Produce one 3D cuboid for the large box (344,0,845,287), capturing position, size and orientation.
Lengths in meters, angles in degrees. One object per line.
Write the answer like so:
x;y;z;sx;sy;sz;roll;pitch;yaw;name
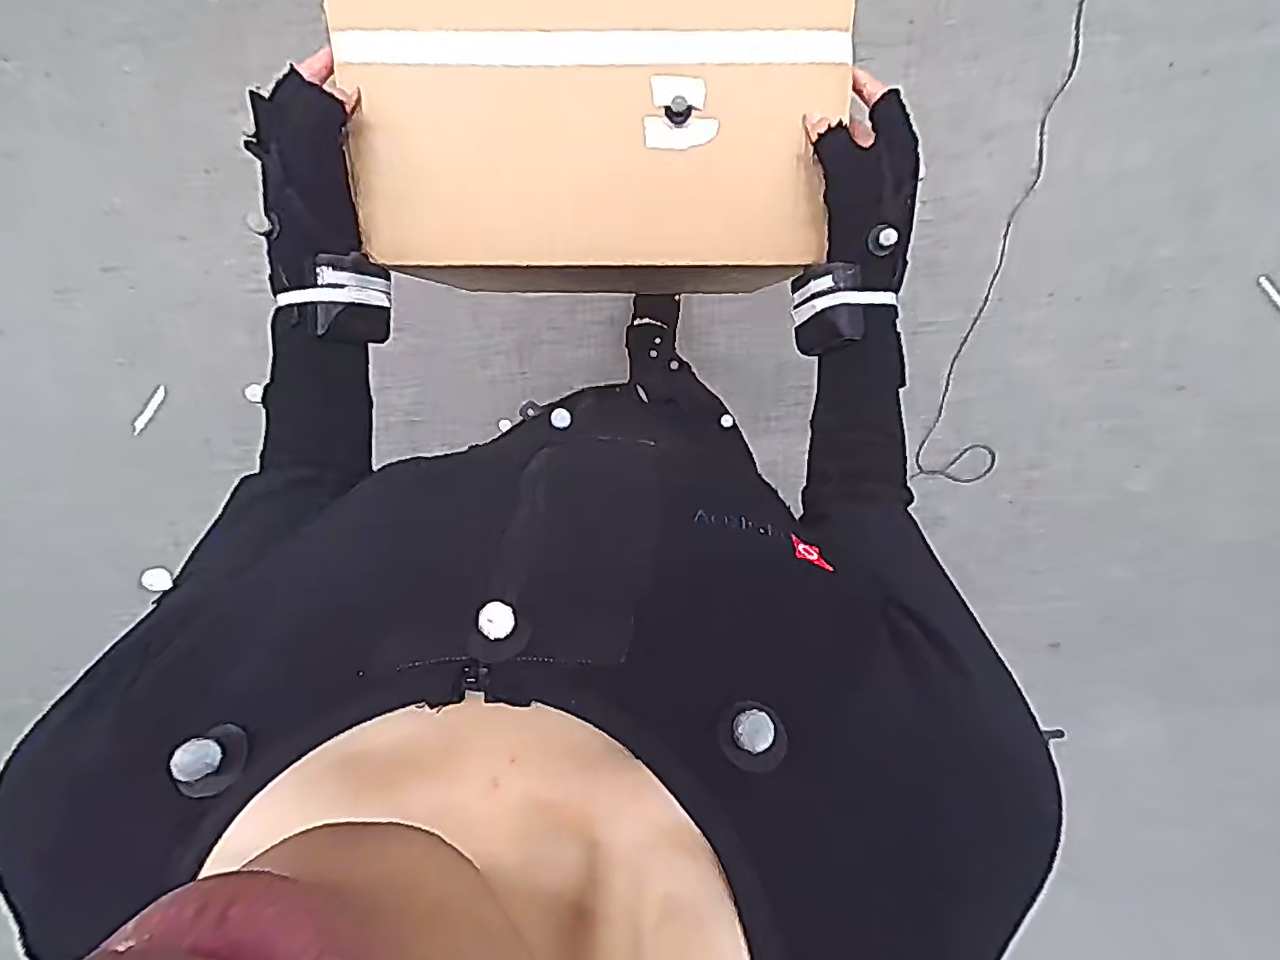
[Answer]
-0.039;-0.388;0.578;0.408;0.320;0.320;-1;105;-1;large box
